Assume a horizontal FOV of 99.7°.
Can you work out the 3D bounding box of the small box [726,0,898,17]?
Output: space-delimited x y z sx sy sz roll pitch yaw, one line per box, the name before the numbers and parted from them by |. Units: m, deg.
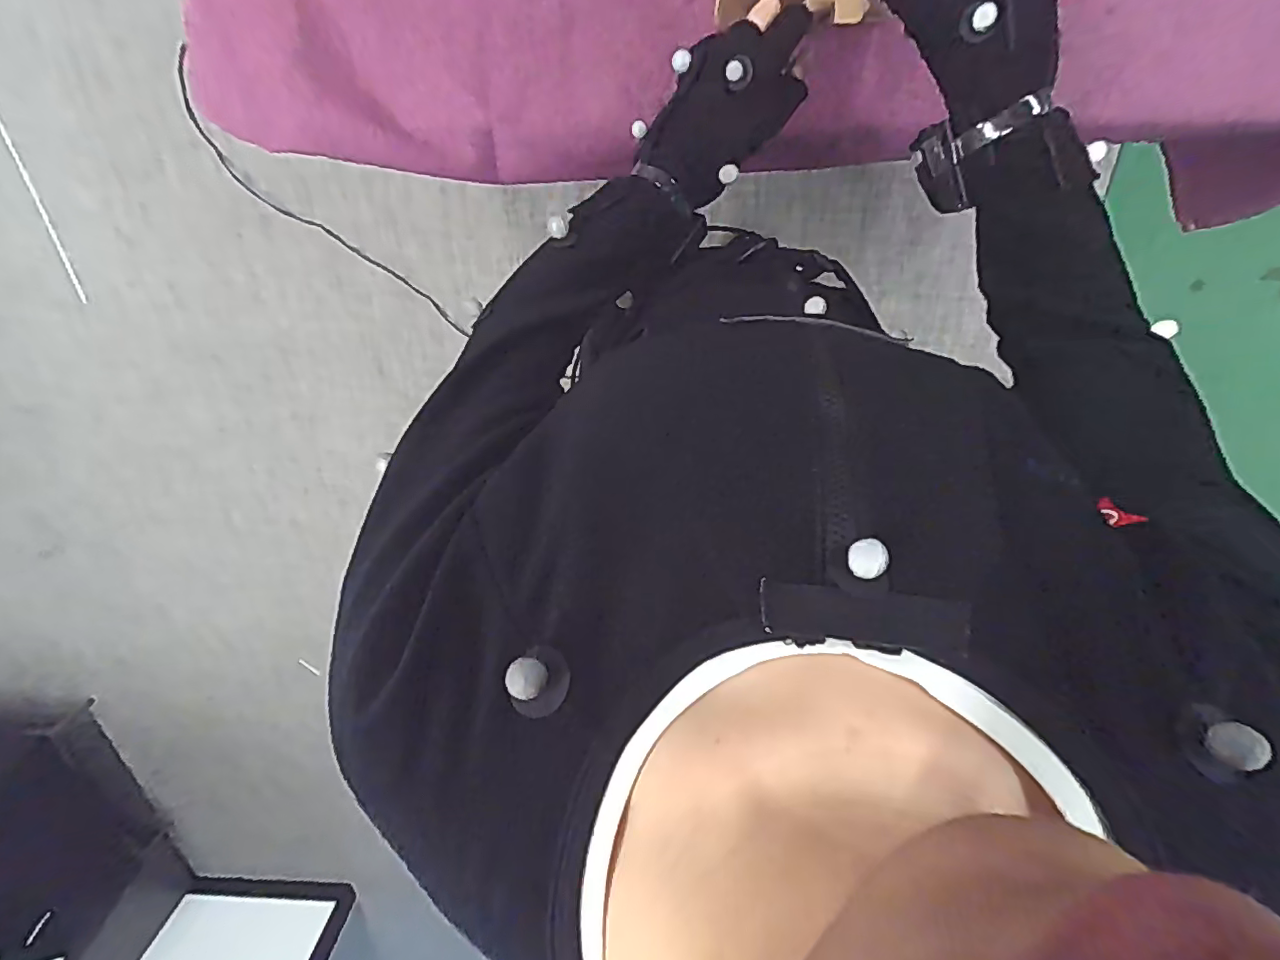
small box | 0.153 -0.486 0.414 0.168 0.176 0.179 2 116 3
